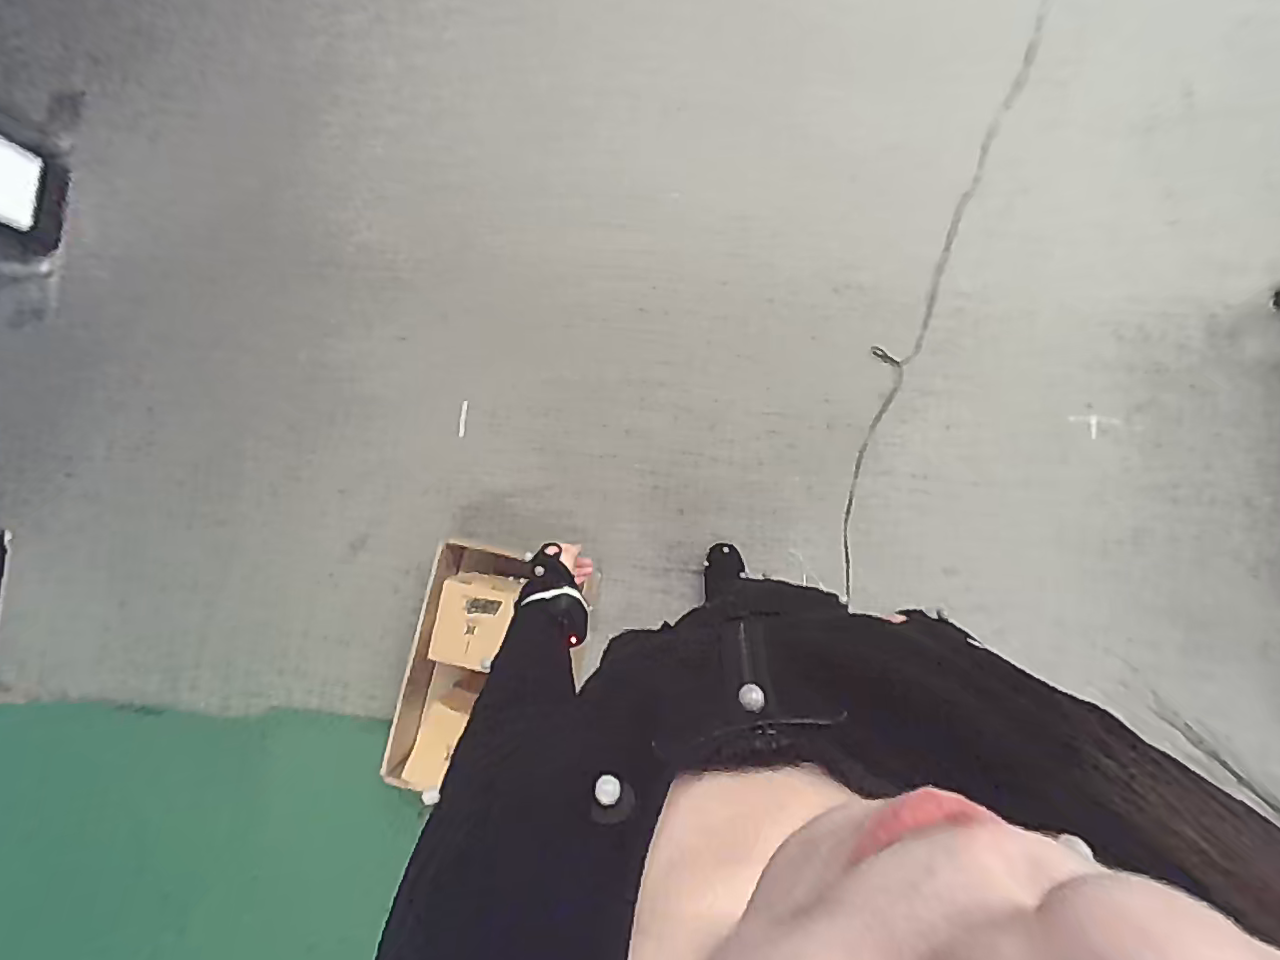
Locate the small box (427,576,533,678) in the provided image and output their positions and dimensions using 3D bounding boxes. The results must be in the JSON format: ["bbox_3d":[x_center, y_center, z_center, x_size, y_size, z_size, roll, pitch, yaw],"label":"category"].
[{"bbox_3d":[-0.355,0.325,1.232,0.168,0.176,0.179,12,87,5],"label":"small box"}]

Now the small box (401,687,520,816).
[{"bbox_3d":[-0.389,0.595,1.209,0.168,0.176,0.179,22,84,7],"label":"small box"}]
